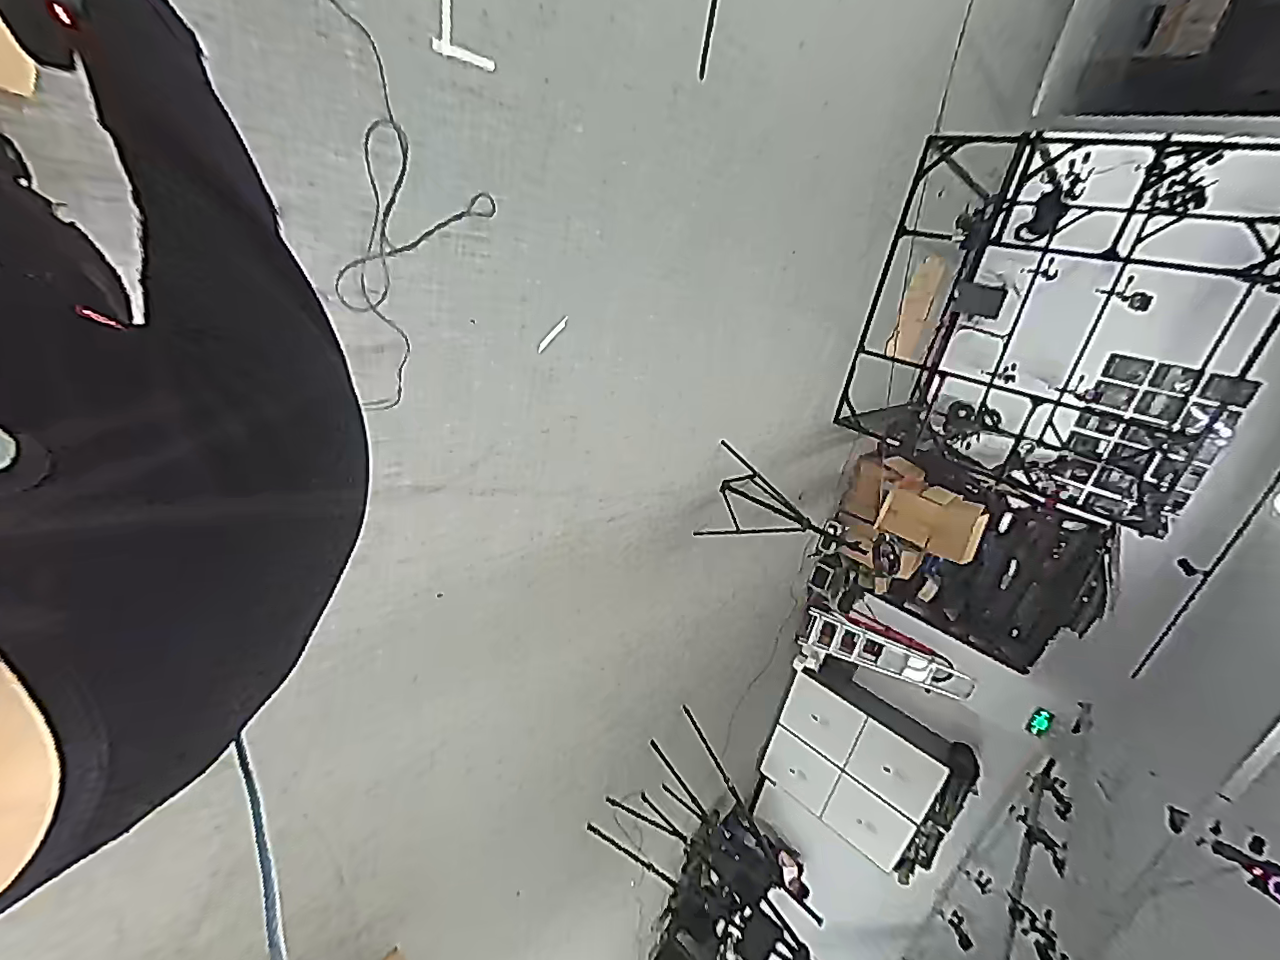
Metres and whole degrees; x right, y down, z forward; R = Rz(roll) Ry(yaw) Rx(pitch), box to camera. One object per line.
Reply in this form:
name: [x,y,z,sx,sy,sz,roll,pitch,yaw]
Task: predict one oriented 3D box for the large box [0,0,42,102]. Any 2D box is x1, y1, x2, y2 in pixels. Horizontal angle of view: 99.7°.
large box: [-0.992,-0.702,0.611,0.408,0.320,0.320,-2,113,-52]
